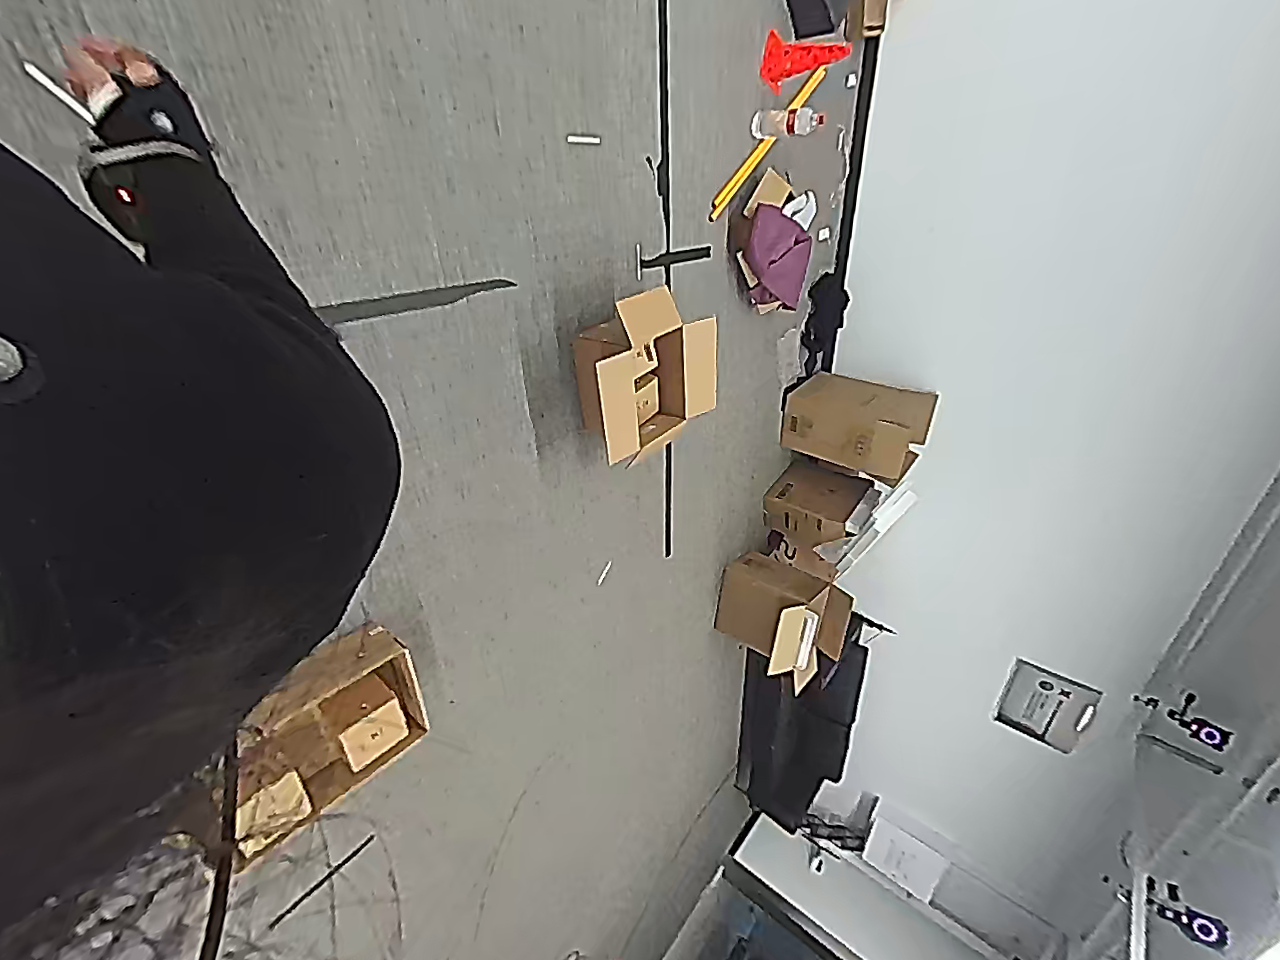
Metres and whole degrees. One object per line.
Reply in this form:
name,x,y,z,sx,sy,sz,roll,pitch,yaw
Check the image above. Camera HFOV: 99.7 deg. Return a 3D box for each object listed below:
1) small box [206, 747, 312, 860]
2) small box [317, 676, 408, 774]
small box,-1.030,0.858,1.460,0.168,0.176,0.179,-28,126,-45
small box,-0.846,0.738,1.649,0.179,0.176,0.168,-28,126,-42
